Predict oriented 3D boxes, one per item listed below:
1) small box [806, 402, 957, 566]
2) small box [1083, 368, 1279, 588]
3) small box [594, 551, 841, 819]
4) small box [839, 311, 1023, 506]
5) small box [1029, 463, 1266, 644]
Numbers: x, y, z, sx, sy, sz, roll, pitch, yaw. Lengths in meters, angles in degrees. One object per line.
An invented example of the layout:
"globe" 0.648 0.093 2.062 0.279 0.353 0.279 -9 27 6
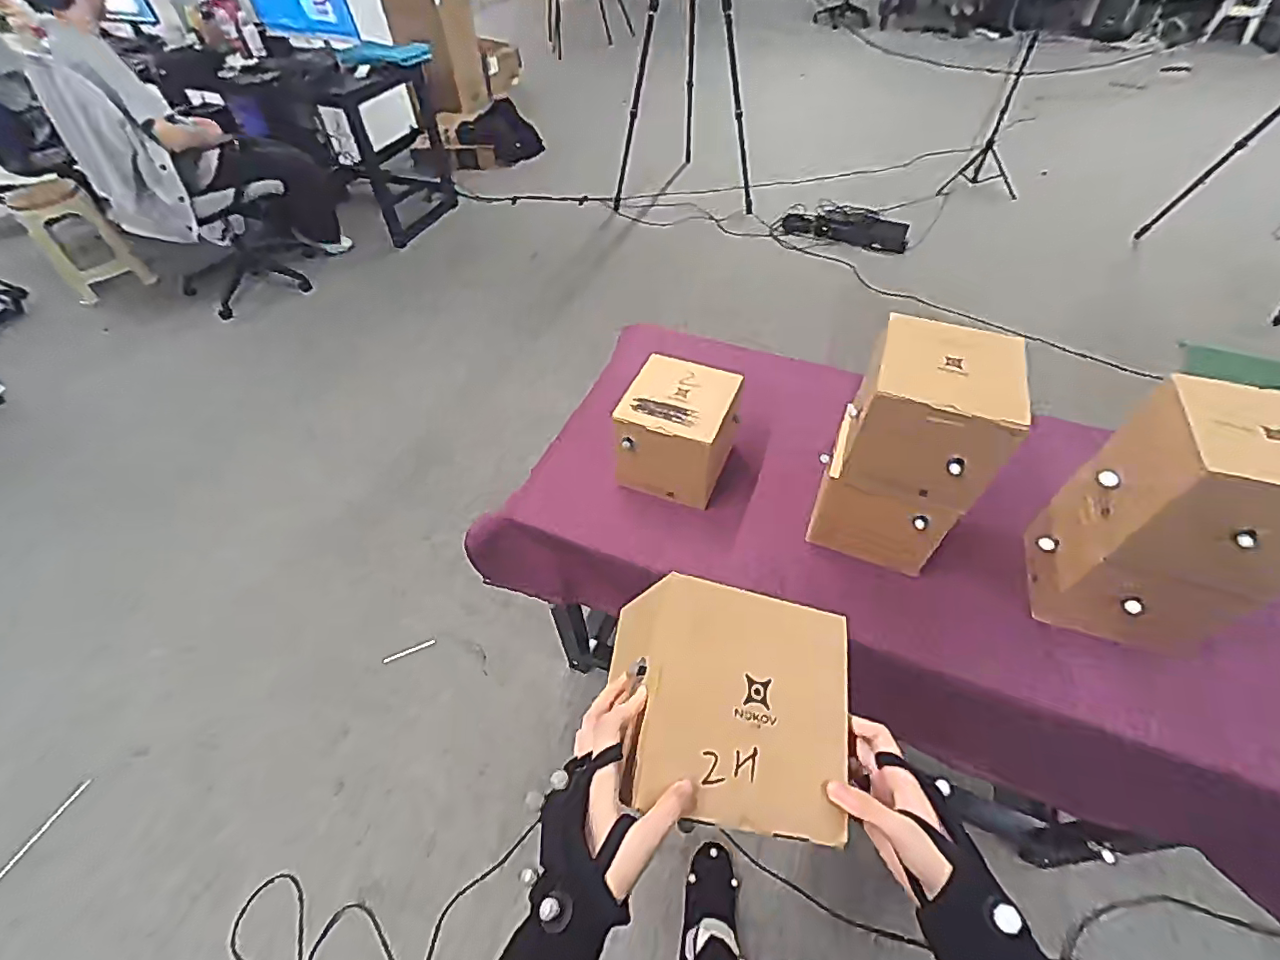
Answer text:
"small box" 0.375 0.009 0.848 0.179 0.176 0.168 18 53 15
"small box" 0.667 0.002 0.625 0.179 0.176 0.168 15 52 15
"small box" 0.064 0.189 0.499 0.168 0.176 0.179 16 63 -10
"small box" 0.378 -0.093 0.721 0.168 0.176 0.179 18 52 14
"small box" 0.673 0.105 0.753 0.179 0.176 0.168 14 52 15
